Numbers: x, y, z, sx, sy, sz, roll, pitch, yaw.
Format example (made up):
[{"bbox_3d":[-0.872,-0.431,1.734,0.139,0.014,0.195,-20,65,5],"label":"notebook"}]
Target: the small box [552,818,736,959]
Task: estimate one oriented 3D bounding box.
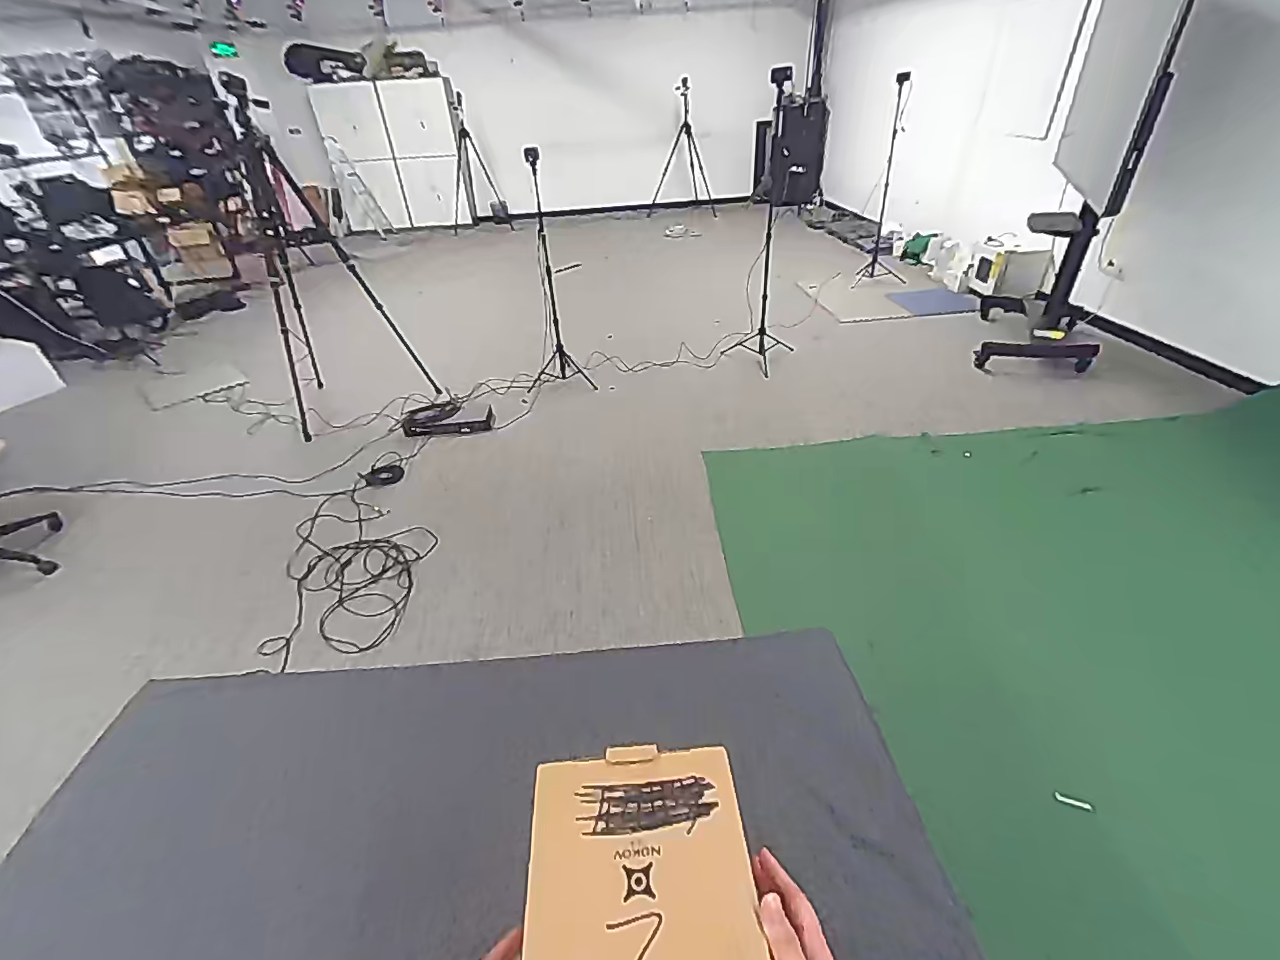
[{"bbox_3d":[0.007,0.474,0.538,0.168,0.176,0.179,-5,35,-2],"label":"small box"}]
